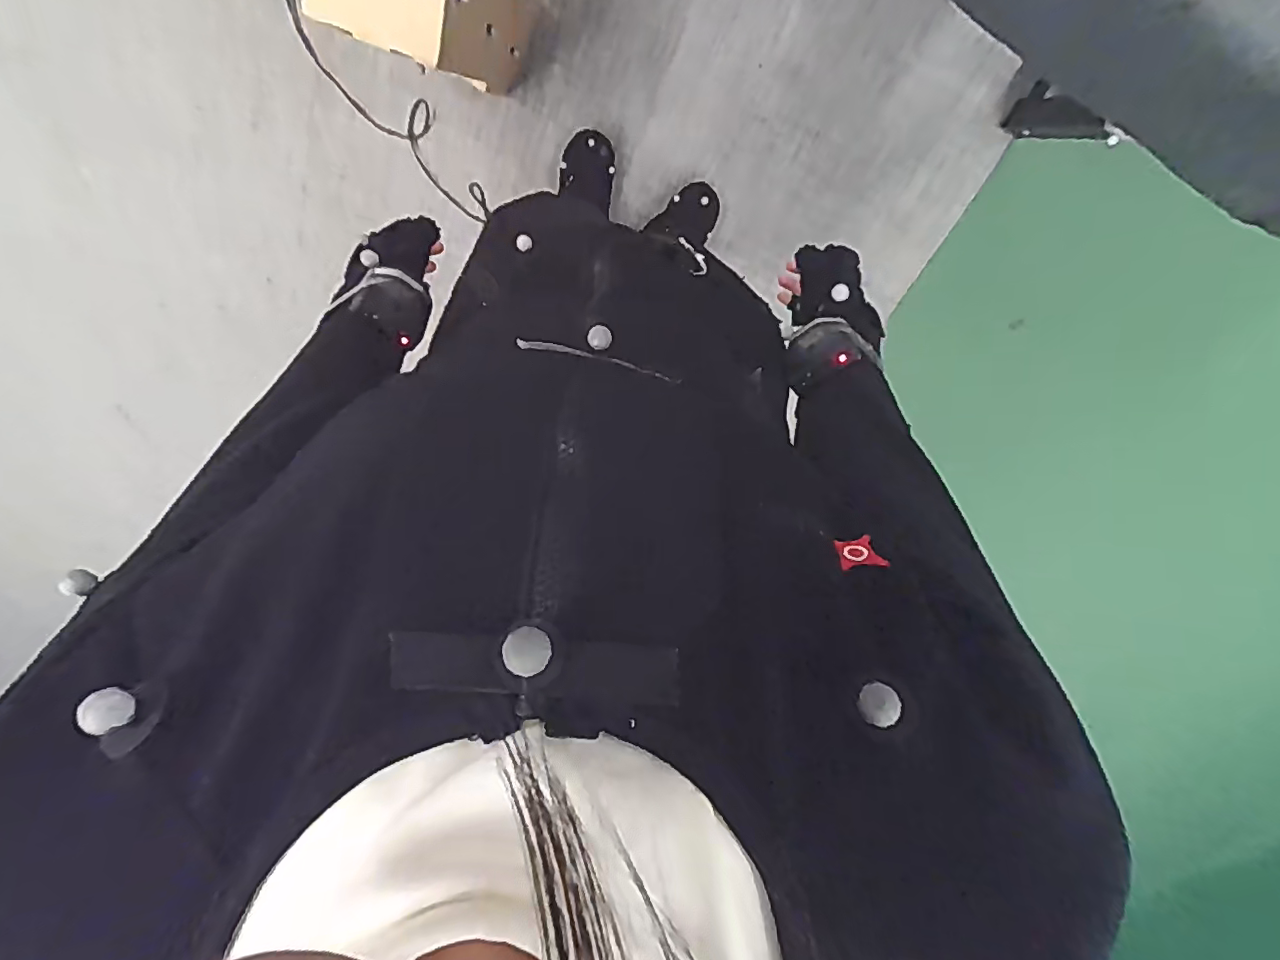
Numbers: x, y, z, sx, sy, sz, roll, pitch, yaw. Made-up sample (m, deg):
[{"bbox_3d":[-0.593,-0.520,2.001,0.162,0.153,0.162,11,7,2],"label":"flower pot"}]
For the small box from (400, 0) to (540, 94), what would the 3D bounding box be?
[{"bbox_3d":[-0.292,-0.829,0.963,0.168,0.176,0.179,29,120,-16],"label":"small box"}]
